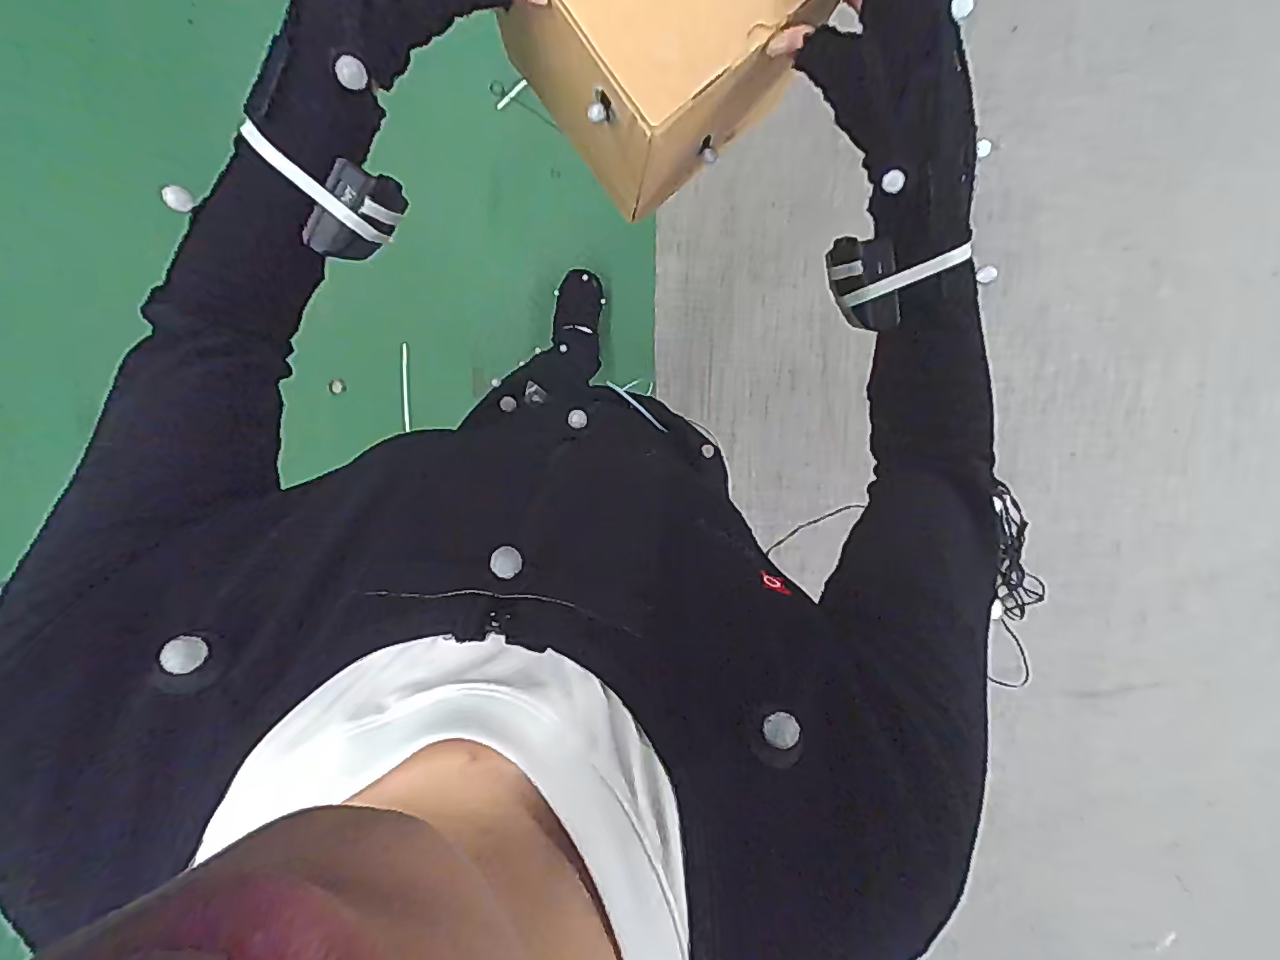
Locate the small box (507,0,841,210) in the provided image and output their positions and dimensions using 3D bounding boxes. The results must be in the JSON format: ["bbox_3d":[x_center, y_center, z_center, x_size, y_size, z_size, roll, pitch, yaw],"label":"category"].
[{"bbox_3d":[0.012,-0.339,0.392,0.168,0.176,0.179,-38,100,1],"label":"small box"}]
